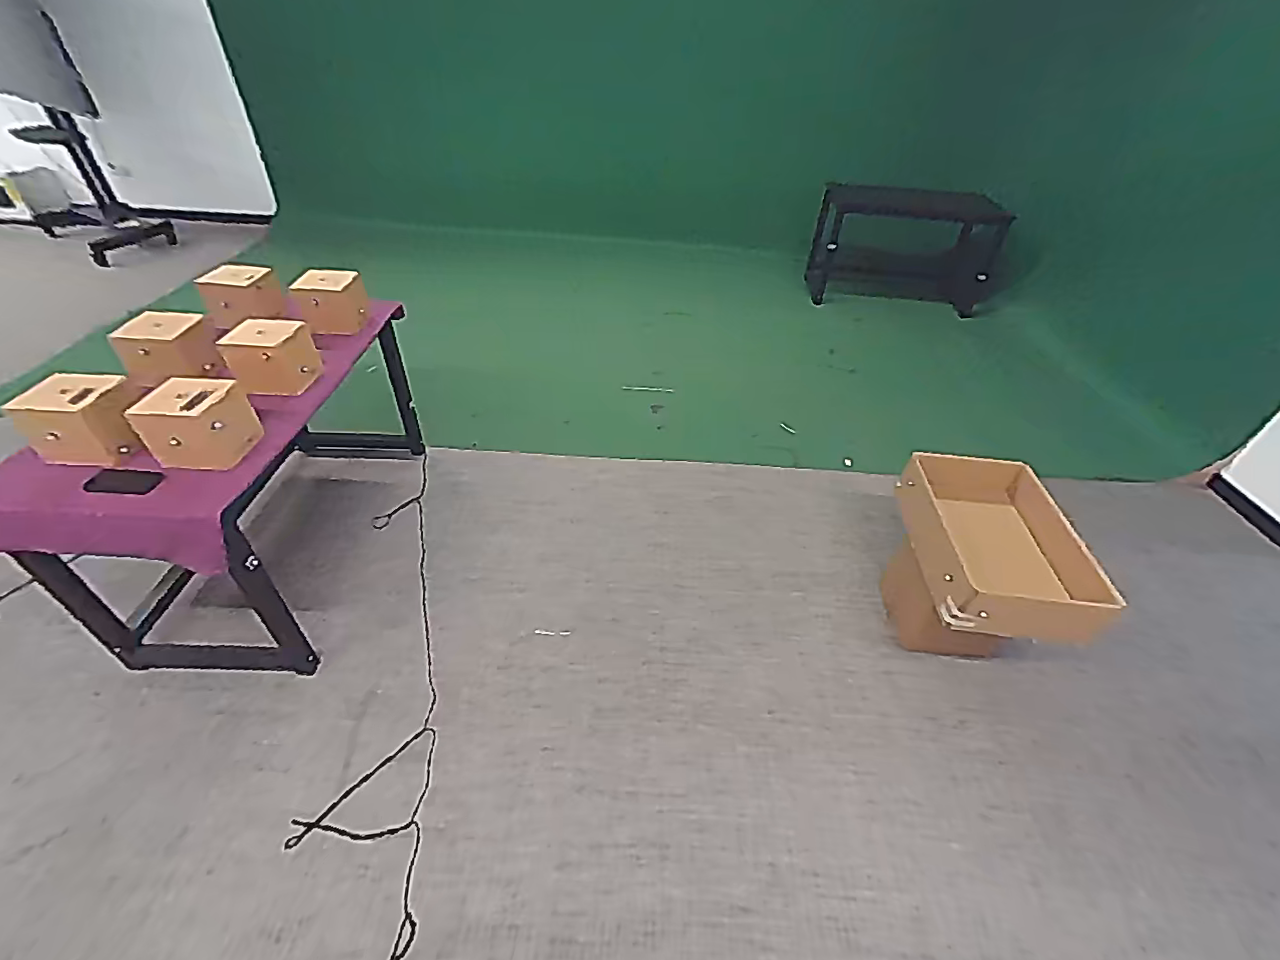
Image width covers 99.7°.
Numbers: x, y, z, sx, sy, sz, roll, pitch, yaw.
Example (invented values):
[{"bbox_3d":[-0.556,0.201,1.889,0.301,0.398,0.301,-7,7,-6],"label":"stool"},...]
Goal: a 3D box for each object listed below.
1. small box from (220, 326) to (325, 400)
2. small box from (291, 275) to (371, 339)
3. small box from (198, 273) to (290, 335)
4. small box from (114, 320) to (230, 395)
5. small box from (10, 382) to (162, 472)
[{"bbox_3d":[-1.107,-0.355,1.644,0.179,0.176,0.168,2,41,0],"label":"small box"},{"bbox_3d":[-1.101,-0.619,1.941,0.179,0.176,0.168,2,43,-2],"label":"small box"},{"bbox_3d":[-1.410,-0.628,1.939,0.179,0.176,0.168,2,42,0],"label":"small box"},{"bbox_3d":[-1.413,-0.371,1.647,0.179,0.176,0.168,2,42,-2],"label":"small box"},{"bbox_3d":[-1.386,-0.132,1.371,0.179,0.176,0.168,1,41,-2],"label":"small box"}]
